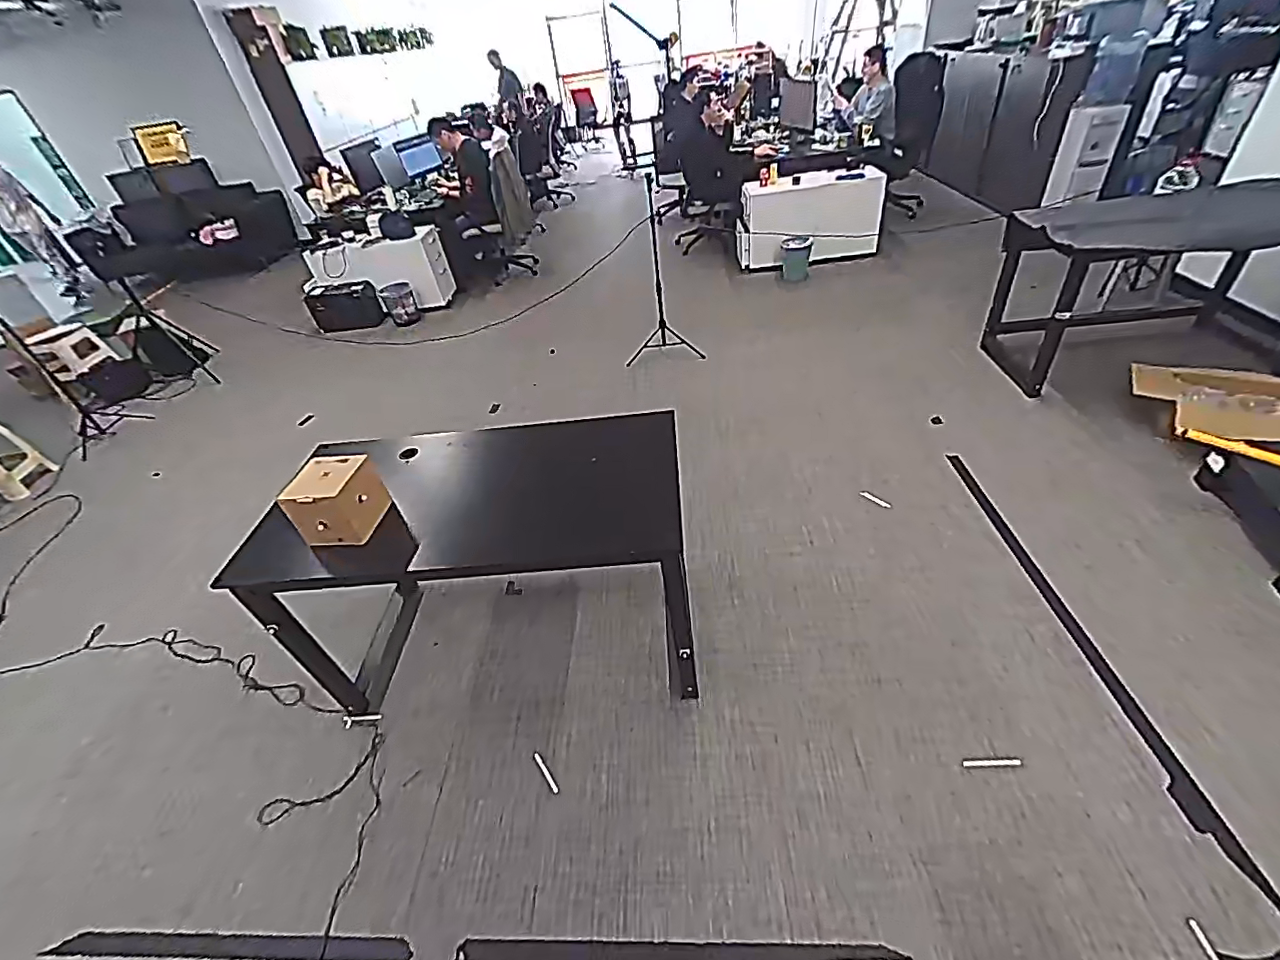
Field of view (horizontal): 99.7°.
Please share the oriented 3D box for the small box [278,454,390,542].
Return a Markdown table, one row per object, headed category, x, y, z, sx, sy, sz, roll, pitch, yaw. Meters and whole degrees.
| category | x | y | z | sx | sy | sz | roll | pitch | yaw |
| --- | --- | --- | --- | --- | --- | --- | --- | --- | --- |
| small box | -0.800 | 0.053 | 1.437 | 0.168 | 0.176 | 0.179 | -2 | 40 | 8 |
